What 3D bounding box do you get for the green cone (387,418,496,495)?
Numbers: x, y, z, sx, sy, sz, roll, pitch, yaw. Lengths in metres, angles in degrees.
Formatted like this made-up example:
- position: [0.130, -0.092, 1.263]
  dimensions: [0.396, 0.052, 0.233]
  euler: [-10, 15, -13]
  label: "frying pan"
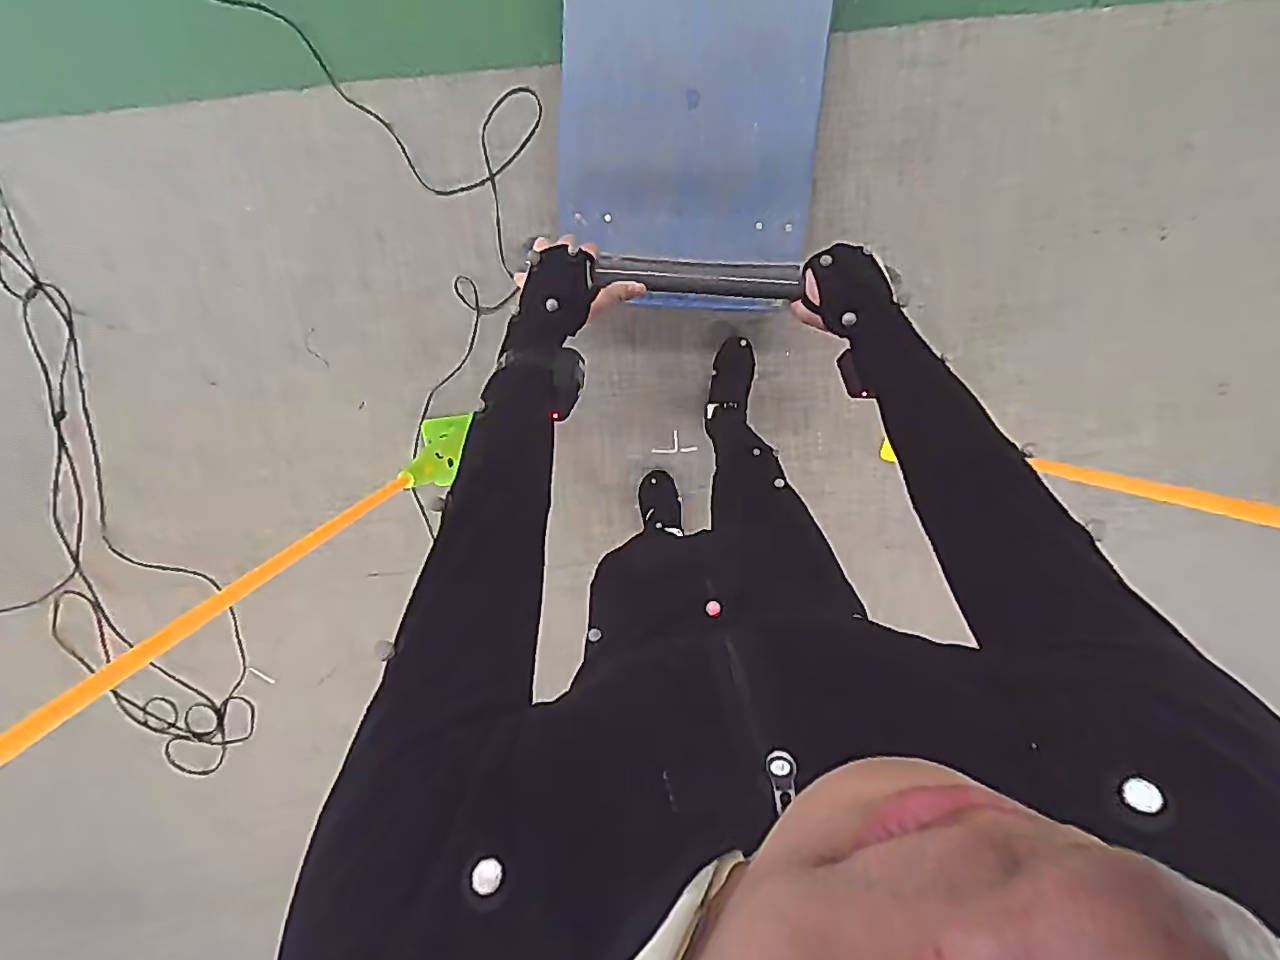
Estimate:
- position: [-0.538, -0.032, 1.394]
  dimensions: [0.202, 0.368, 0.200]
  euler: [-7, 103, 5]
  label: "green cone"
